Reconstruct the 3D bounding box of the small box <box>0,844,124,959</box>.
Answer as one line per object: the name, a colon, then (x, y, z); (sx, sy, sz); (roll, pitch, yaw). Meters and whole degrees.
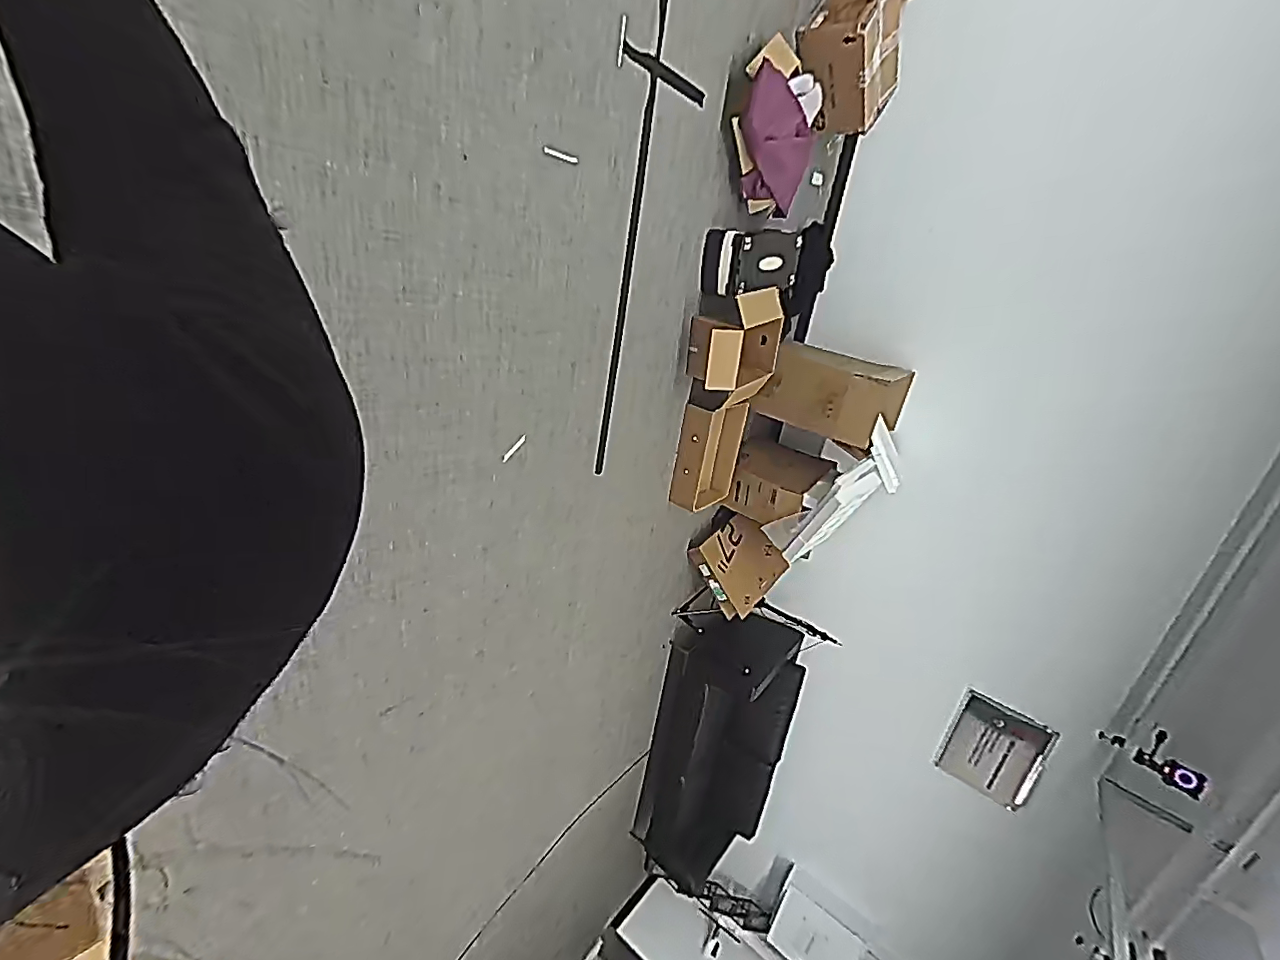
small box: (-0.667, 0.531, 0.564); (0.168, 0.176, 0.179); (-20, 125, -48)
